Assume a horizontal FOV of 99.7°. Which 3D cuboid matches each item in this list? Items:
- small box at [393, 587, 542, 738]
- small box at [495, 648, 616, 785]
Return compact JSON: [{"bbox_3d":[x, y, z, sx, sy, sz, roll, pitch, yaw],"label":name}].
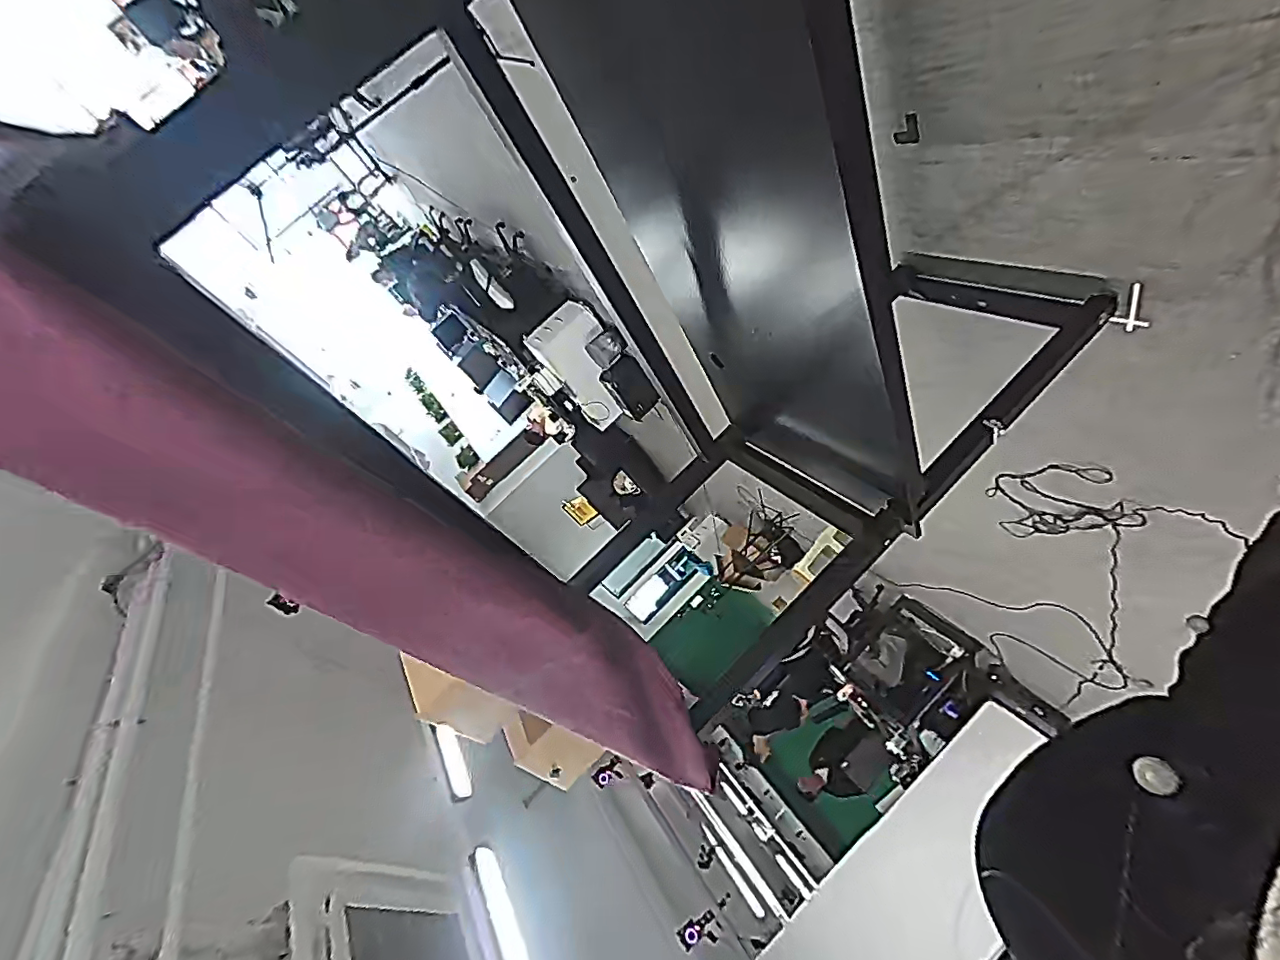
[{"bbox_3d":[-0.304,0.315,0.967,0.179,0.176,0.168,40,172,47],"label":"small box"},{"bbox_3d":[-0.177,0.472,1.108,0.168,0.176,0.179,51,174,-35],"label":"small box"}]
